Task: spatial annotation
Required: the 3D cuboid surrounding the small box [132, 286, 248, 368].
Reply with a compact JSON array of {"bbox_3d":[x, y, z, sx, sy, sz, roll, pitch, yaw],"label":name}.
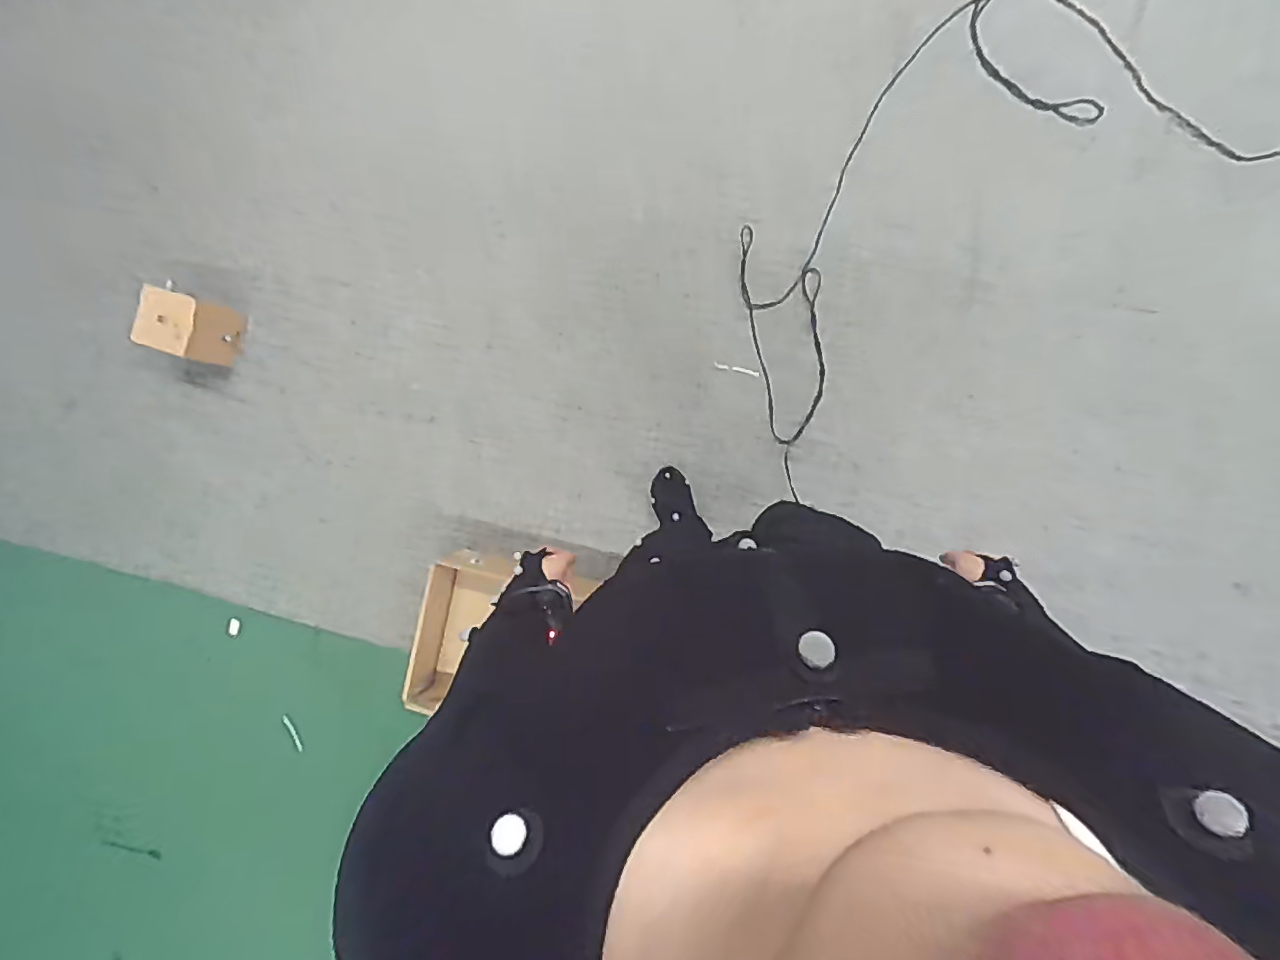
[{"bbox_3d":[-1.295,-0.436,1.565,0.179,0.176,0.168,18,94,6],"label":"small box"}]
